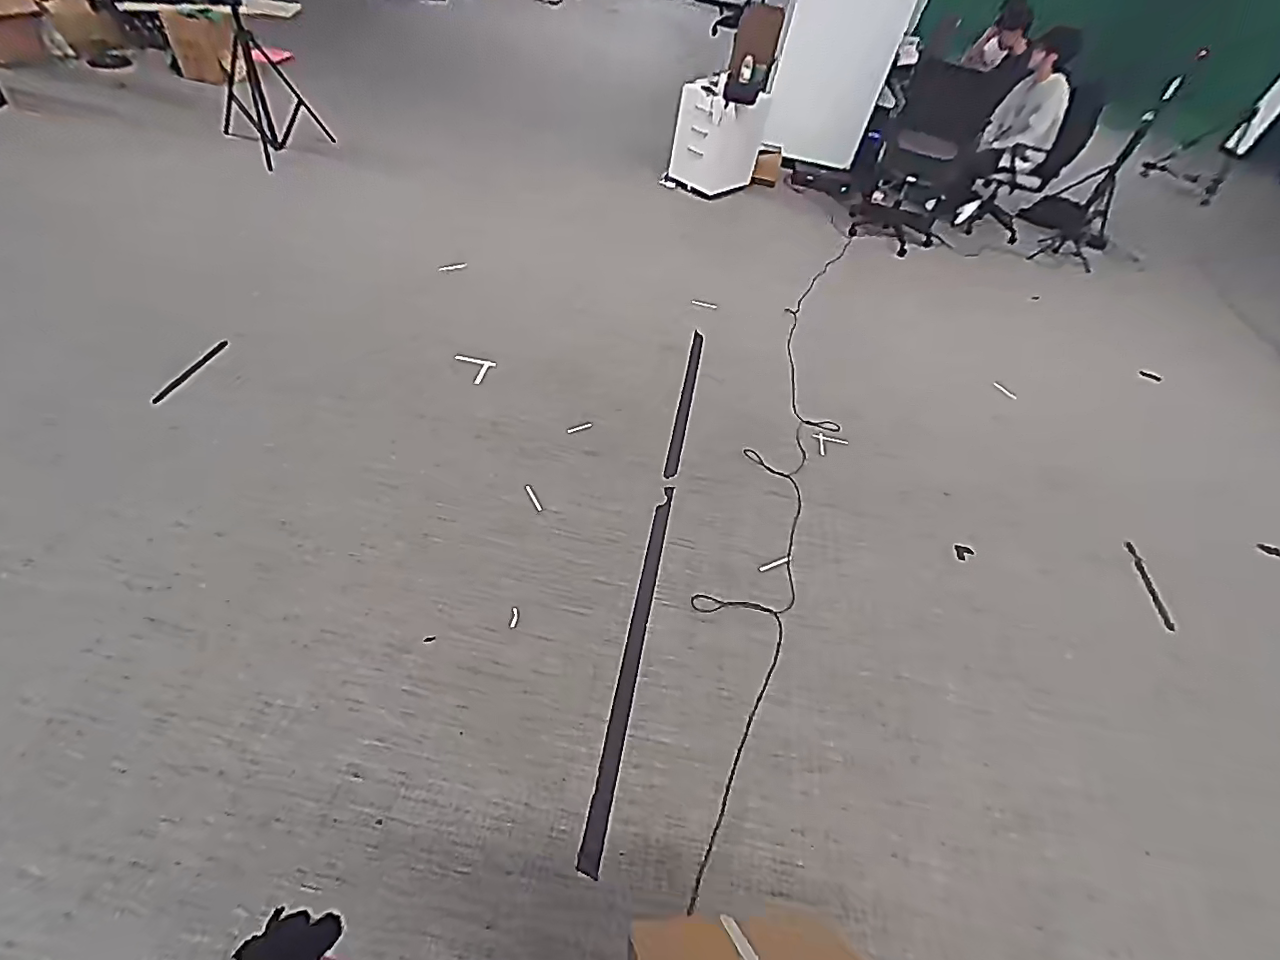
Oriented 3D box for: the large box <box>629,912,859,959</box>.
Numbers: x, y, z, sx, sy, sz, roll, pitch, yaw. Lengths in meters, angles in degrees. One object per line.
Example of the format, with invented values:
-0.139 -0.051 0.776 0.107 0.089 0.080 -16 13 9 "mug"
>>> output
0.165 0.791 0.634 0.320 0.408 0.320 2 75 -9 "large box"
